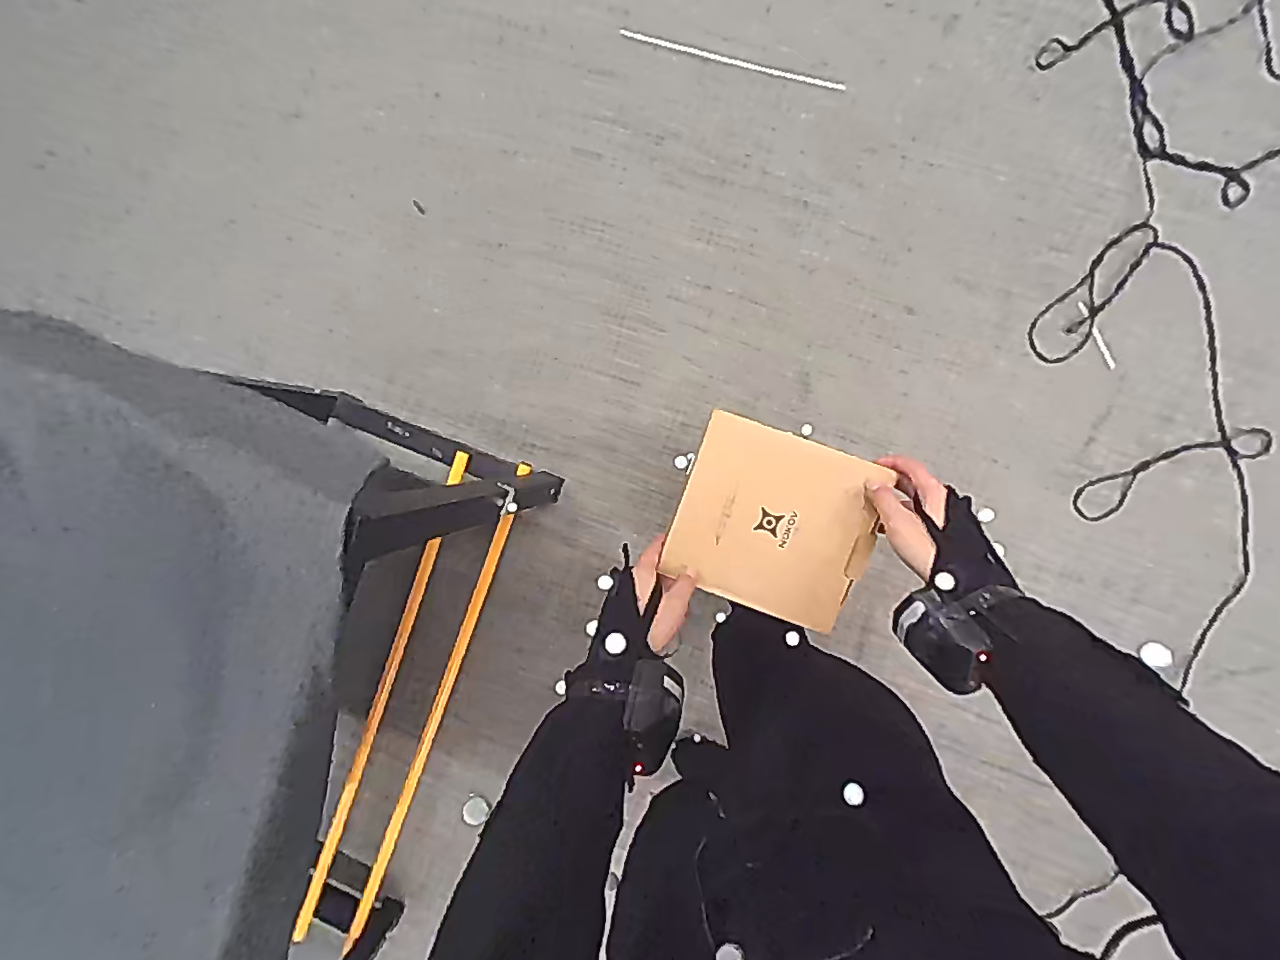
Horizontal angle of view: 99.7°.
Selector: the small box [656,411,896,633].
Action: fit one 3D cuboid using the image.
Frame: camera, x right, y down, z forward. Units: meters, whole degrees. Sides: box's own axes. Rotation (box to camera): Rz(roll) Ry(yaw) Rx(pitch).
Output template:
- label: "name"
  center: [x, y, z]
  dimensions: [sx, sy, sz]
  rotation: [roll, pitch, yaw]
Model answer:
- label: "small box"
  center: [0.130, 0.031, 0.574]
  dimensions: [0.179, 0.176, 0.168]
  rotation: [20, 98, 4]
